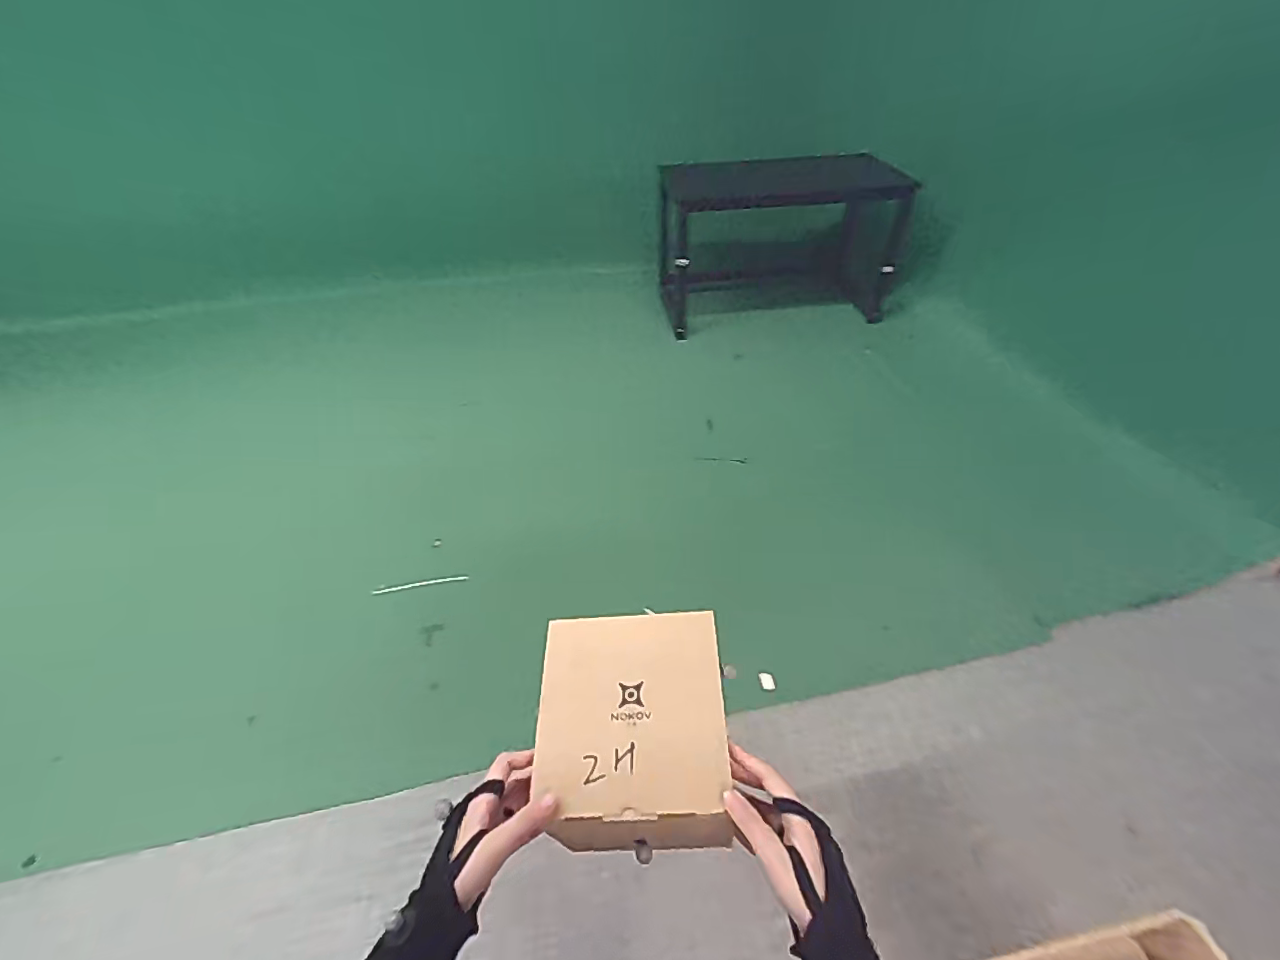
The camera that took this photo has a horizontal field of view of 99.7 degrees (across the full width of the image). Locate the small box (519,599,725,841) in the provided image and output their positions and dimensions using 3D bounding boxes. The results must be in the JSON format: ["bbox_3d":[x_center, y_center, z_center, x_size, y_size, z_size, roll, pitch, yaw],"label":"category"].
[{"bbox_3d":[-0.008,0.241,0.539,0.168,0.176,0.179,-6,48,5],"label":"small box"}]
